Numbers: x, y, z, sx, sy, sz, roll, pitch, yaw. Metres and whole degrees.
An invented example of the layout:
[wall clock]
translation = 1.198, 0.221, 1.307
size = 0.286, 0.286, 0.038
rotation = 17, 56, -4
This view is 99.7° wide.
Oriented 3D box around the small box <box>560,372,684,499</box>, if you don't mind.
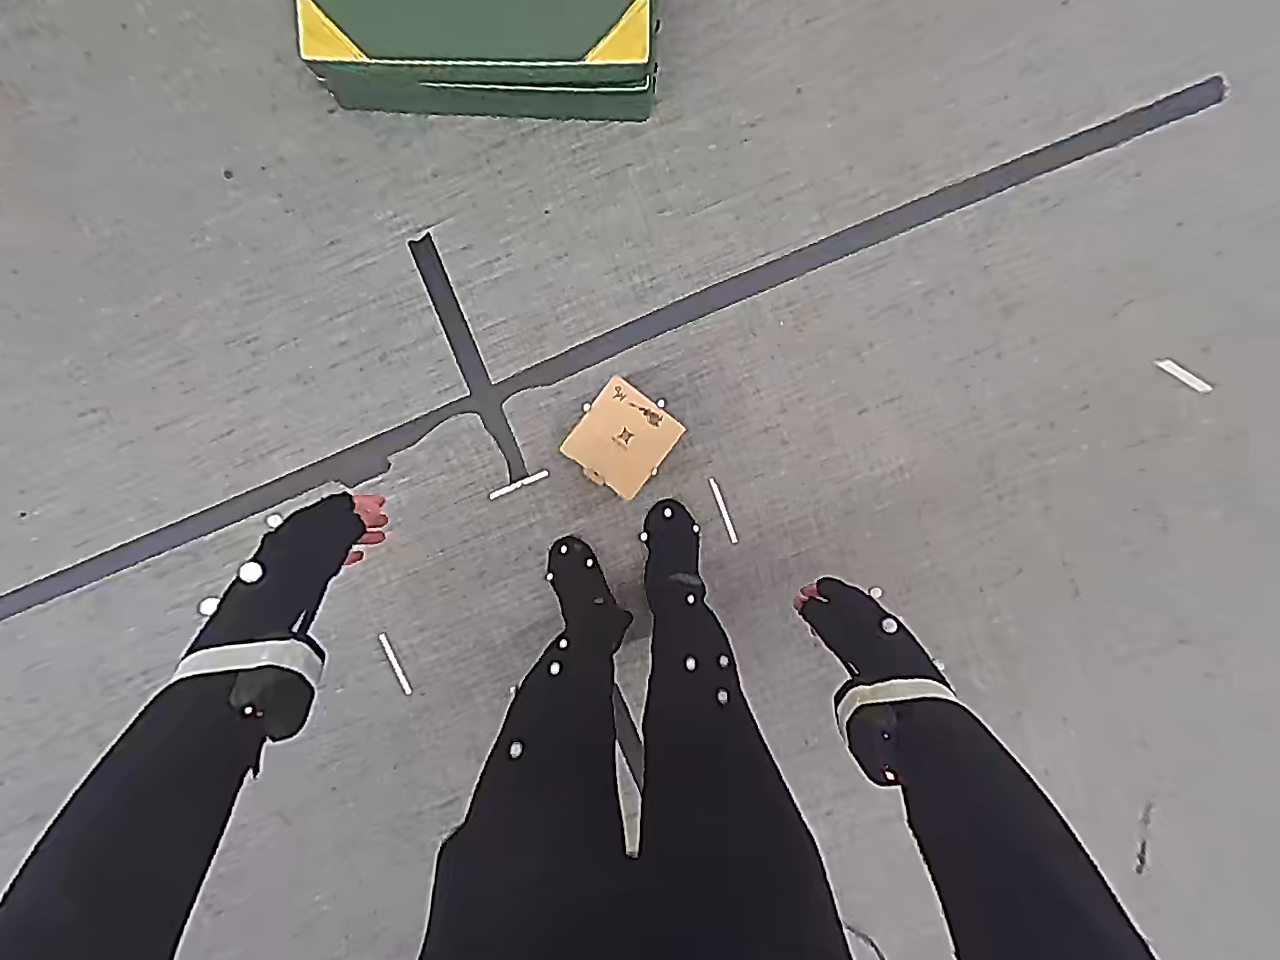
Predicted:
[small box]
translation = -0.032, -0.089, 1.064
size = 0.168, 0.176, 0.179
rotation = 35, 95, -5
